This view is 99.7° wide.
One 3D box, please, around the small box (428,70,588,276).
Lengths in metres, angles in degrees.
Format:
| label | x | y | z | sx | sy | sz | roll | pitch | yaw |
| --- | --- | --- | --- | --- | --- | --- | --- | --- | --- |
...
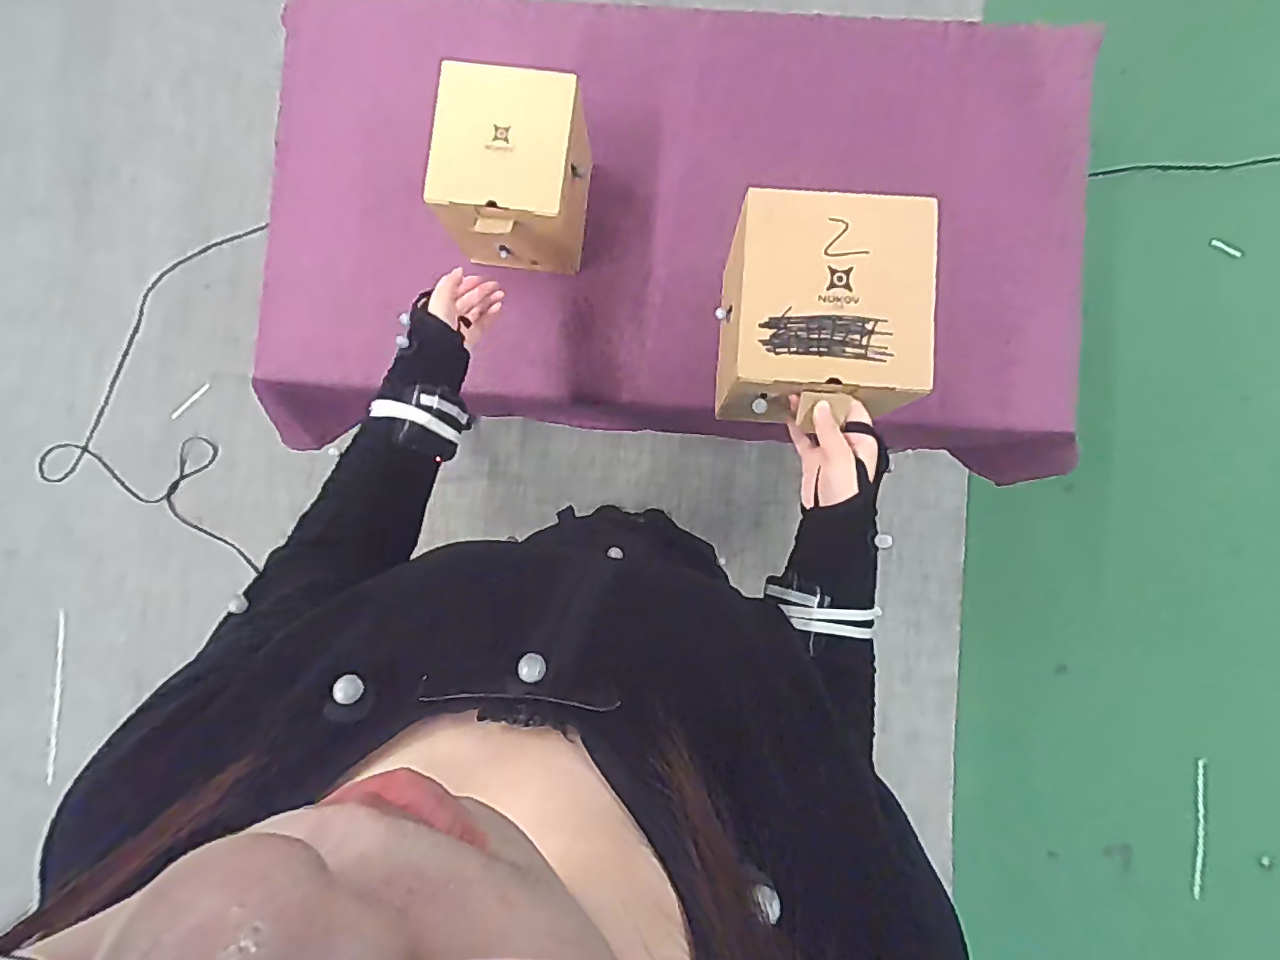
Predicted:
| label | x | y | z | sx | sy | sz | roll | pitch | yaw |
| --- | --- | --- | --- | --- | --- | --- | --- | --- | --- |
| small box | -0.167 | -0.407 | 0.742 | 0.168 | 0.176 | 0.179 | 7 | 89 | 1 |
